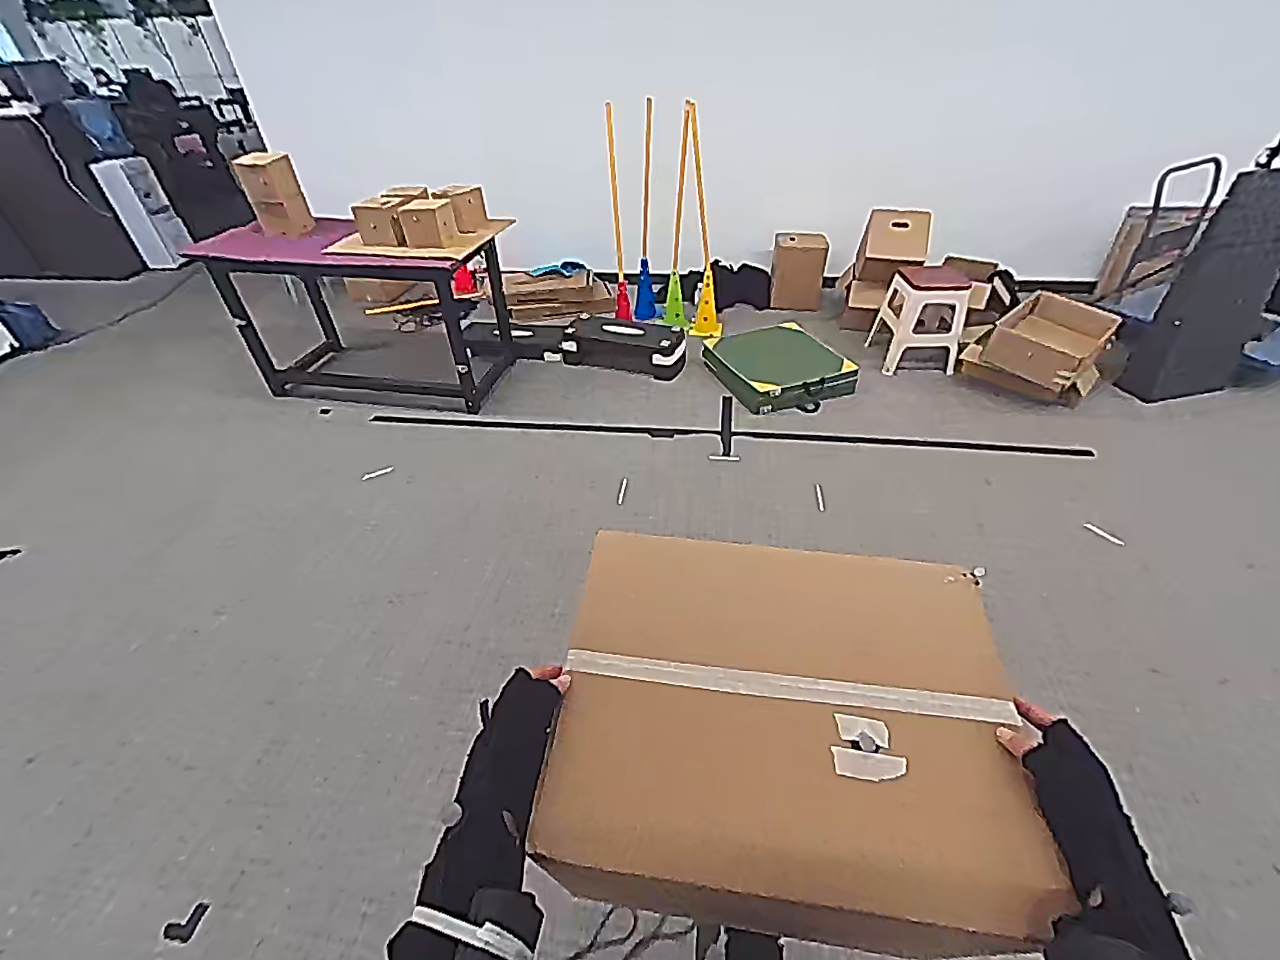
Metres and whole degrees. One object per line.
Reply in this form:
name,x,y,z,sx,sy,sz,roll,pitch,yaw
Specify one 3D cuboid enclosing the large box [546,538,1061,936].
large box,0.139,0.295,0.627,0.408,0.320,0.320,5,49,6
